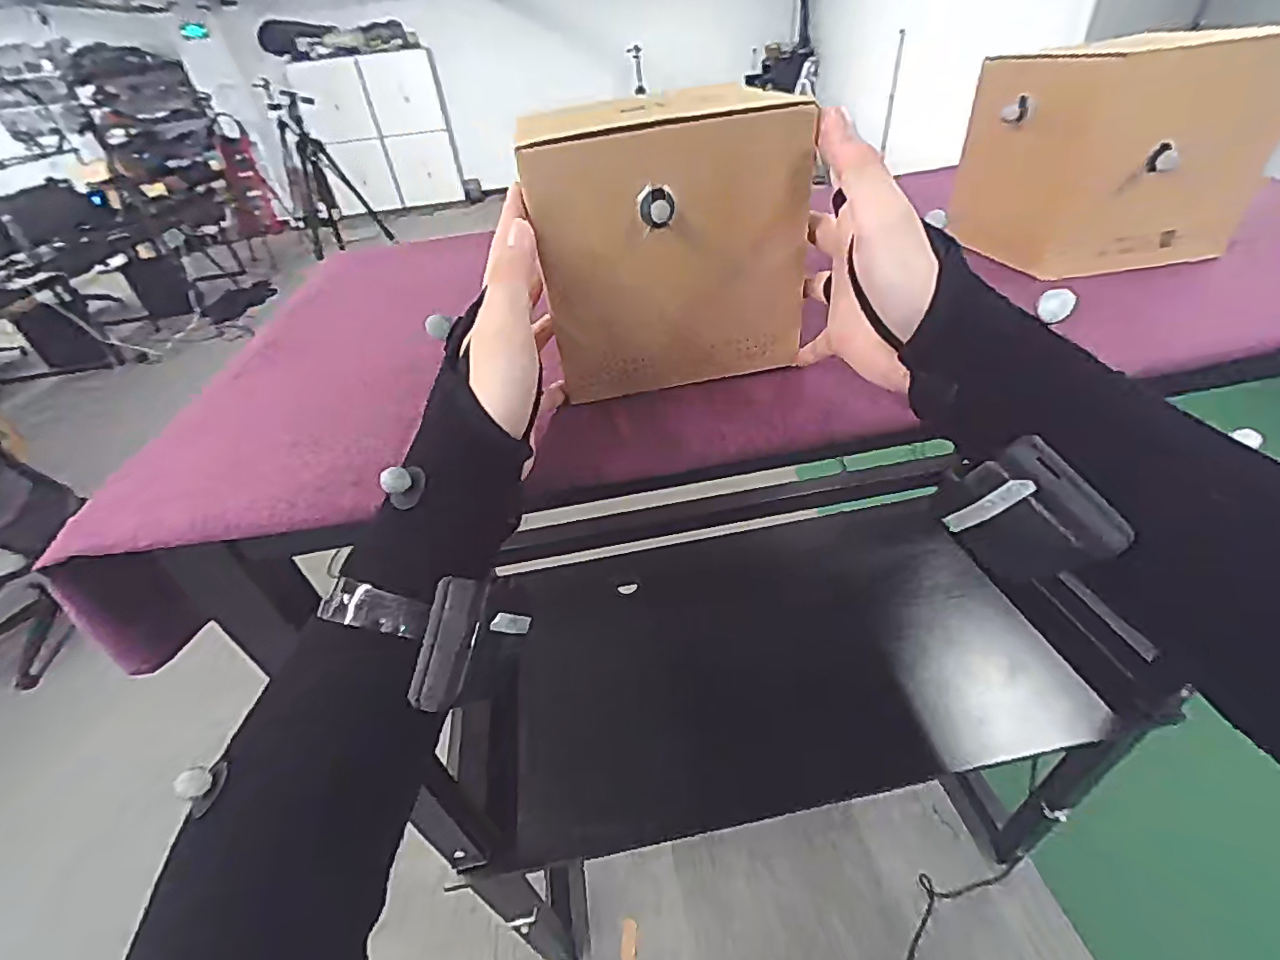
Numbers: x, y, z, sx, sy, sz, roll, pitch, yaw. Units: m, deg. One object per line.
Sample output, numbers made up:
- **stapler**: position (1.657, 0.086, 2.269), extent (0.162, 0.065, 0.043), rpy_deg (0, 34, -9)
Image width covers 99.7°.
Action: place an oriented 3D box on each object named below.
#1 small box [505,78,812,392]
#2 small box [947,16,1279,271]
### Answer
- **small box**: position (0.011, -0.182, 0.405), extent (0.179, 0.176, 0.168), rpy_deg (-10, 40, -2)
- **small box**: position (0.422, -0.303, 0.500), extent (0.168, 0.176, 0.179), rpy_deg (-9, 37, -1)
